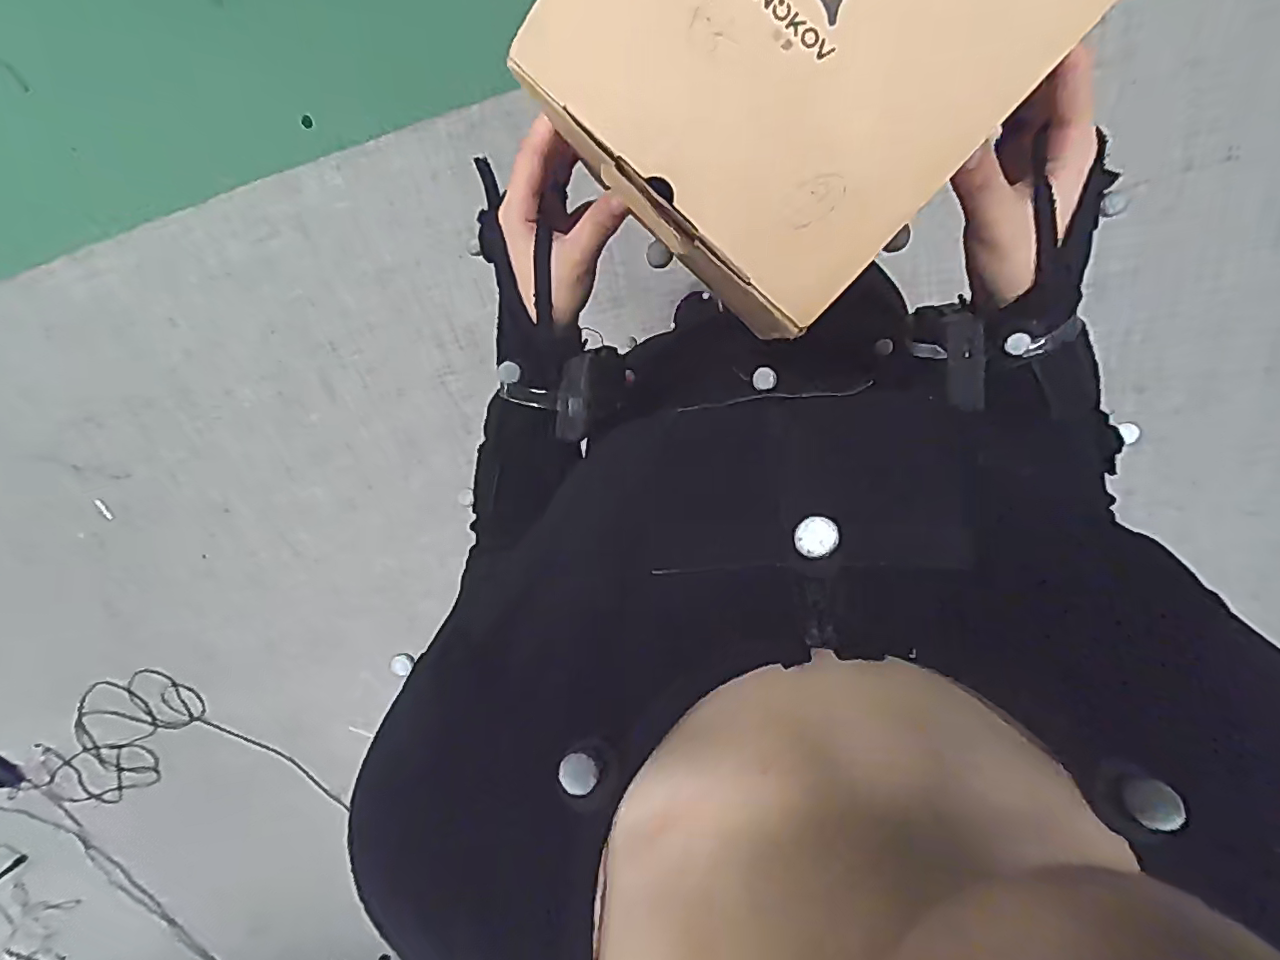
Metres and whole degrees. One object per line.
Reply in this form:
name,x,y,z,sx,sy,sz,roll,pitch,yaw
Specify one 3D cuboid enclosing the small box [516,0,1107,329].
small box,0.074,-0.197,0.283,0.168,0.176,0.179,42,107,-3
